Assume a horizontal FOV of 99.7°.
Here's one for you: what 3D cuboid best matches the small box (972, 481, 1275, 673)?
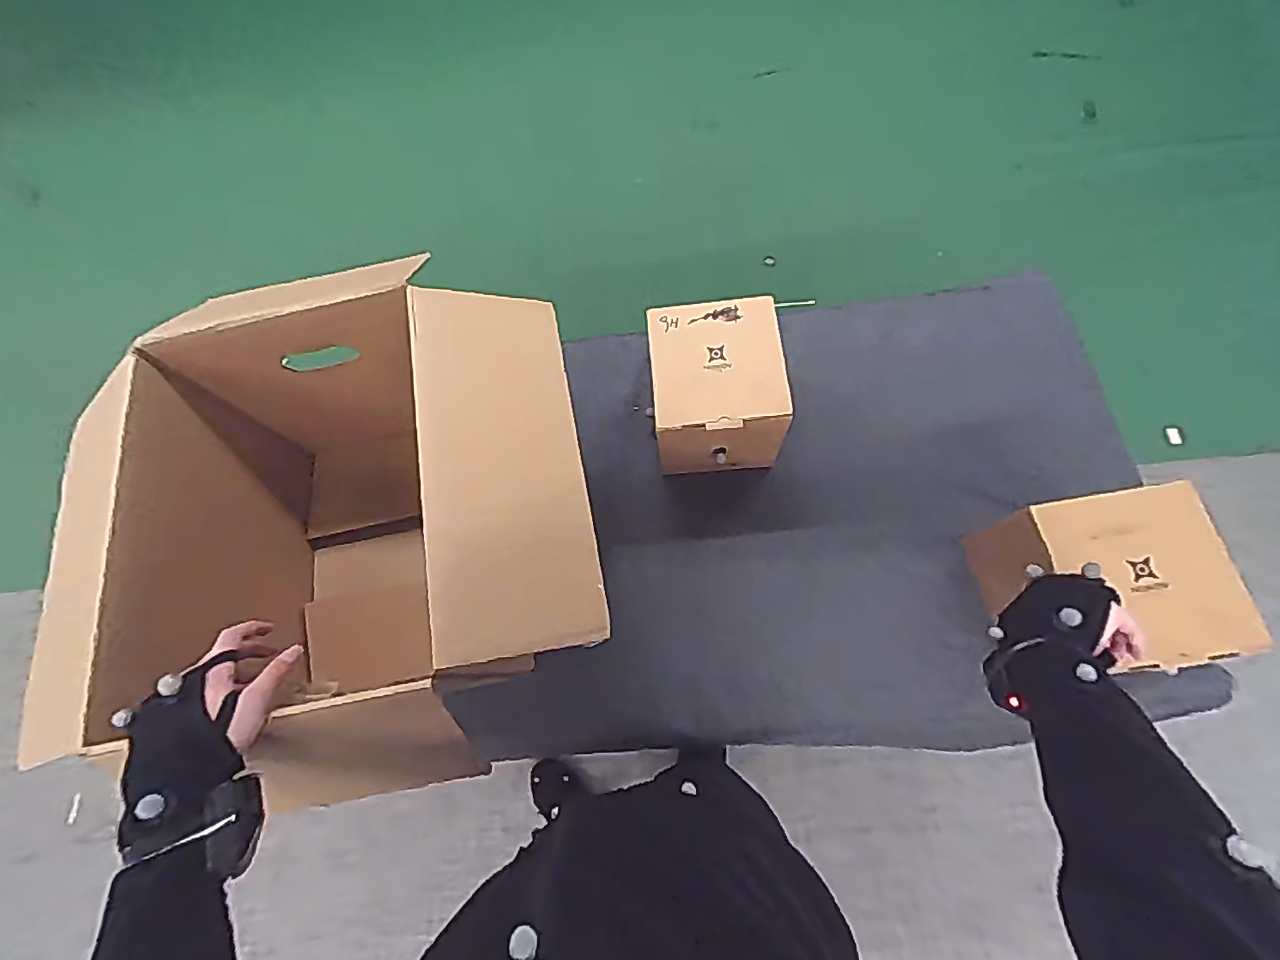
[{"bbox_3d":[0.526,0.120,0.625,0.168,0.176,0.179,-10,69,4],"label":"small box"}]

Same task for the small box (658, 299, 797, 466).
[{"bbox_3d":[0.115,-0.125,0.758,0.168,0.176,0.179,-4,72,4],"label":"small box"}]
